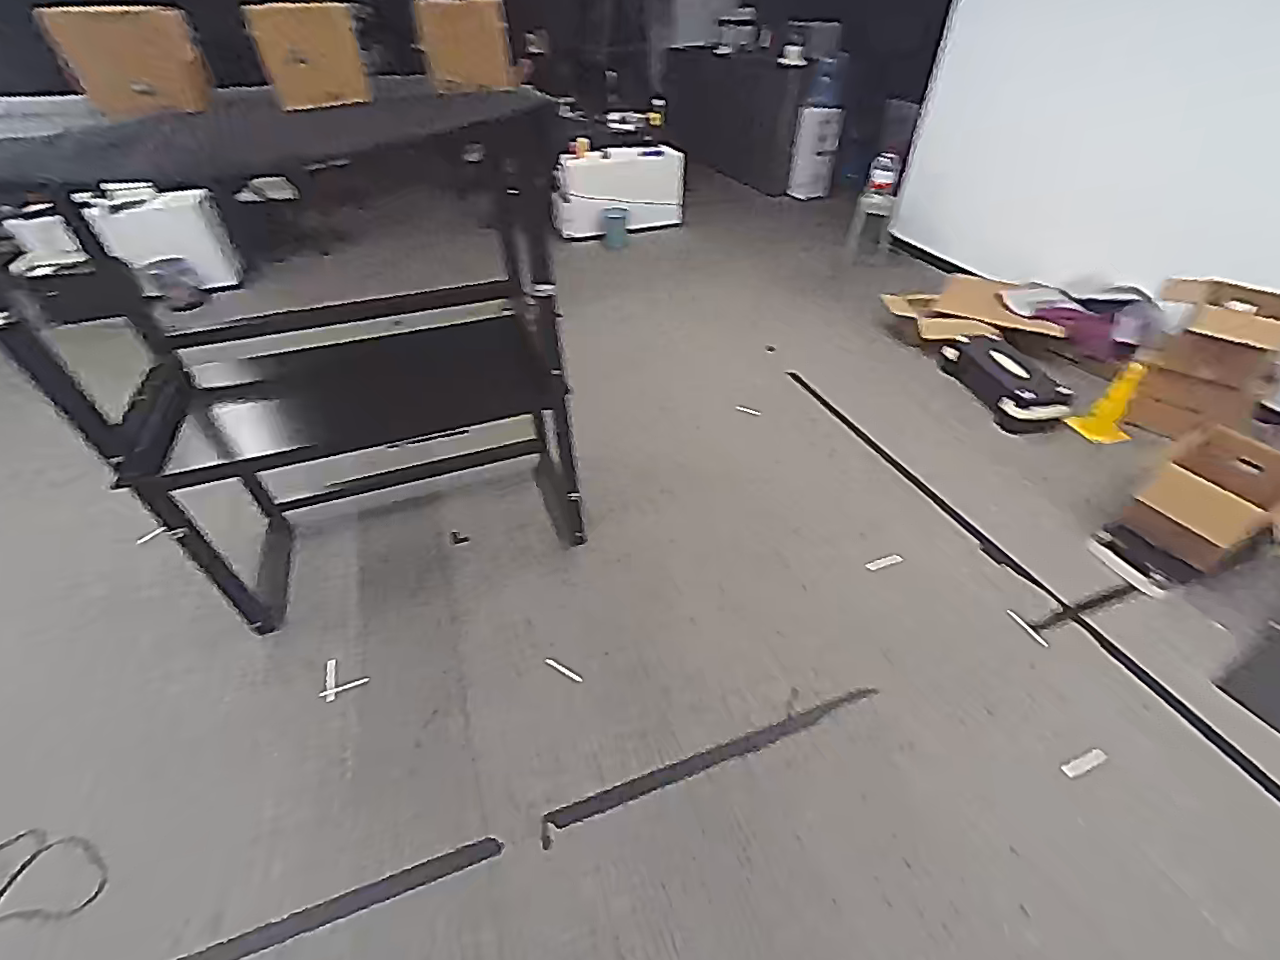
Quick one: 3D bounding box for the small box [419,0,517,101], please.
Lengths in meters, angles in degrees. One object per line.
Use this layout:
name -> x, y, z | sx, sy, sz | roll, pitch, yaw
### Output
small box -> -0.371, -0.934, 1.176 | 0.168, 0.176, 0.179 | -13, 40, -12

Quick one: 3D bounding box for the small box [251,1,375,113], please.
small box -> -0.654, -0.860, 1.104 | 0.168, 0.176, 0.179 | -16, 42, -16

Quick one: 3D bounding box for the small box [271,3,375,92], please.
small box -> -0.750, -1.032, 1.299 | 0.168, 0.176, 0.179 | -15, 44, -15
